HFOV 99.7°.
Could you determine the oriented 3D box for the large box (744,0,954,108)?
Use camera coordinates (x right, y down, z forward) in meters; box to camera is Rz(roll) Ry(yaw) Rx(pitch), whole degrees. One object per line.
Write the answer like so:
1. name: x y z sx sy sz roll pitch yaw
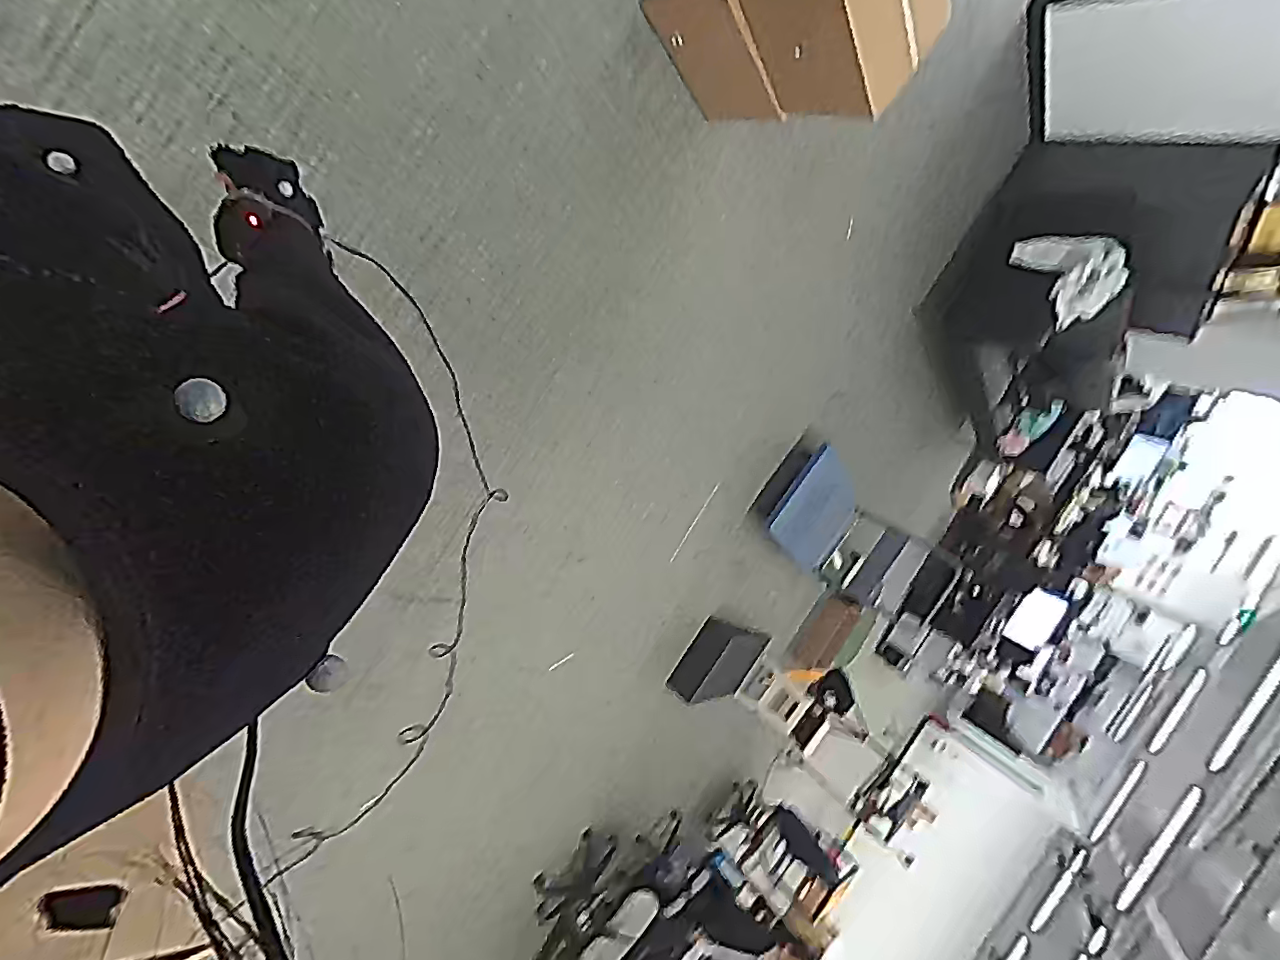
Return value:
1. large box: 0.484 -1.186 1.287 0.320 0.320 0.408 -53 139 4
